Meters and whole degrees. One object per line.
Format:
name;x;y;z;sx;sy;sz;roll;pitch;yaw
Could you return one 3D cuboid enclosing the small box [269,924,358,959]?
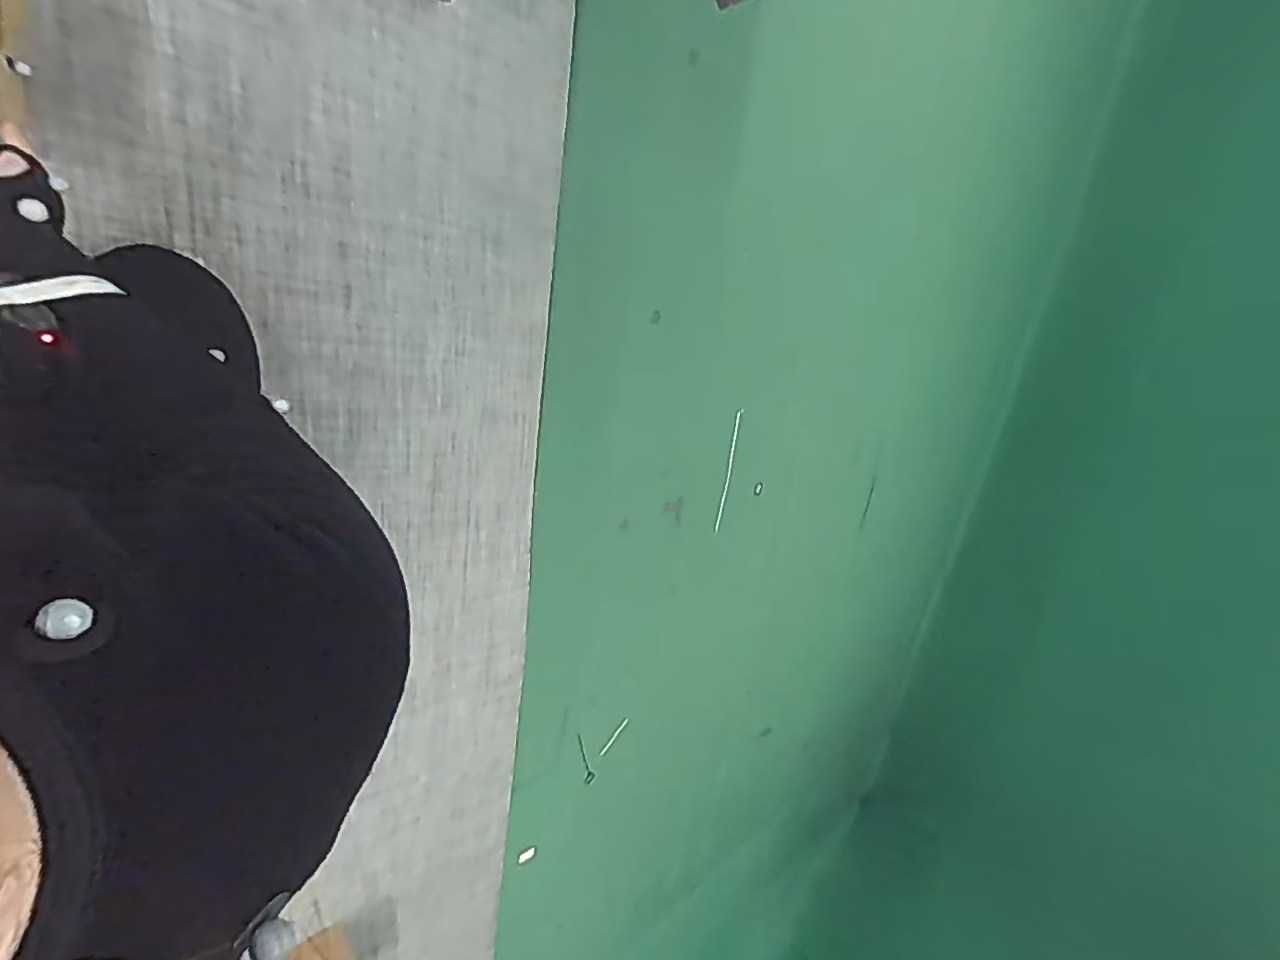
small box;-0.636;1.019;1.045;0.168;0.176;0.179;-10;115;-41
